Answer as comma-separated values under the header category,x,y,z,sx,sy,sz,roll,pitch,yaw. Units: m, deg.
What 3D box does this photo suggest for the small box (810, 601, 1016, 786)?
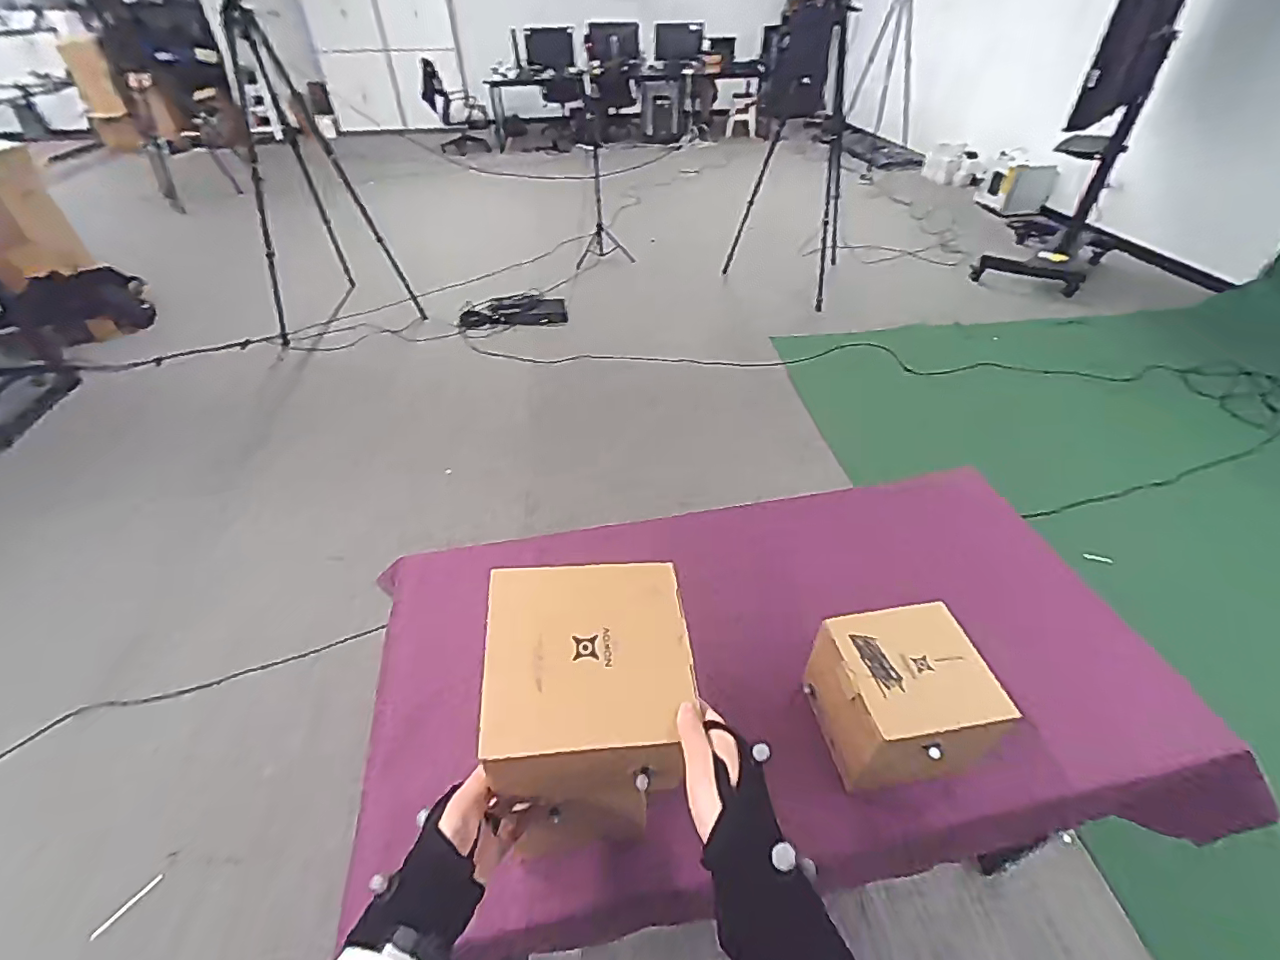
category,x,y,z,sx,sy,sz,roll,pitch,yaw
small box,0.345,0.290,0.731,0.179,0.176,0.168,-7,43,-6

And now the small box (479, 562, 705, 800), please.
category,x,y,z,sx,sy,sz,roll,pitch,yaw
small box,-0.049,0.195,0.521,0.179,0.176,0.168,-2,50,-8

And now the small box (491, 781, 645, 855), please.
category,x,y,z,sx,sy,sz,roll,pitch,yaw
small box,-0.086,0.342,0.688,0.168,0.176,0.179,-7,42,-5
